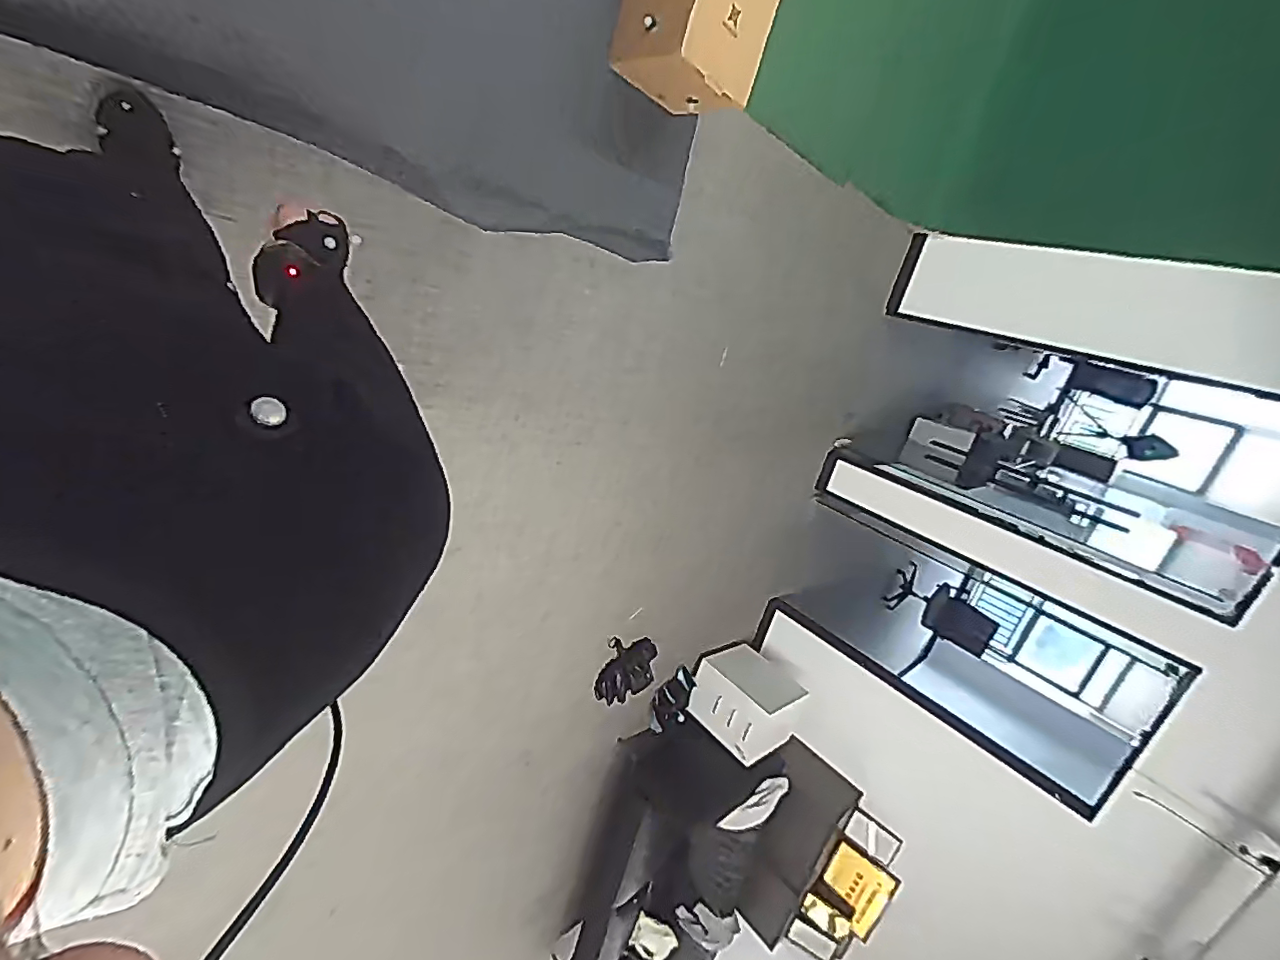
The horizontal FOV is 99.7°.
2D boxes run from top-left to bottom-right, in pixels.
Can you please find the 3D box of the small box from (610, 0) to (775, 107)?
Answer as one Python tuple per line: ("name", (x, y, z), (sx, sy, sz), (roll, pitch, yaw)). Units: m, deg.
("small box", (0.076, -0.701, 0.826), (0.168, 0.176, 0.179), (-2, 113, -46))
